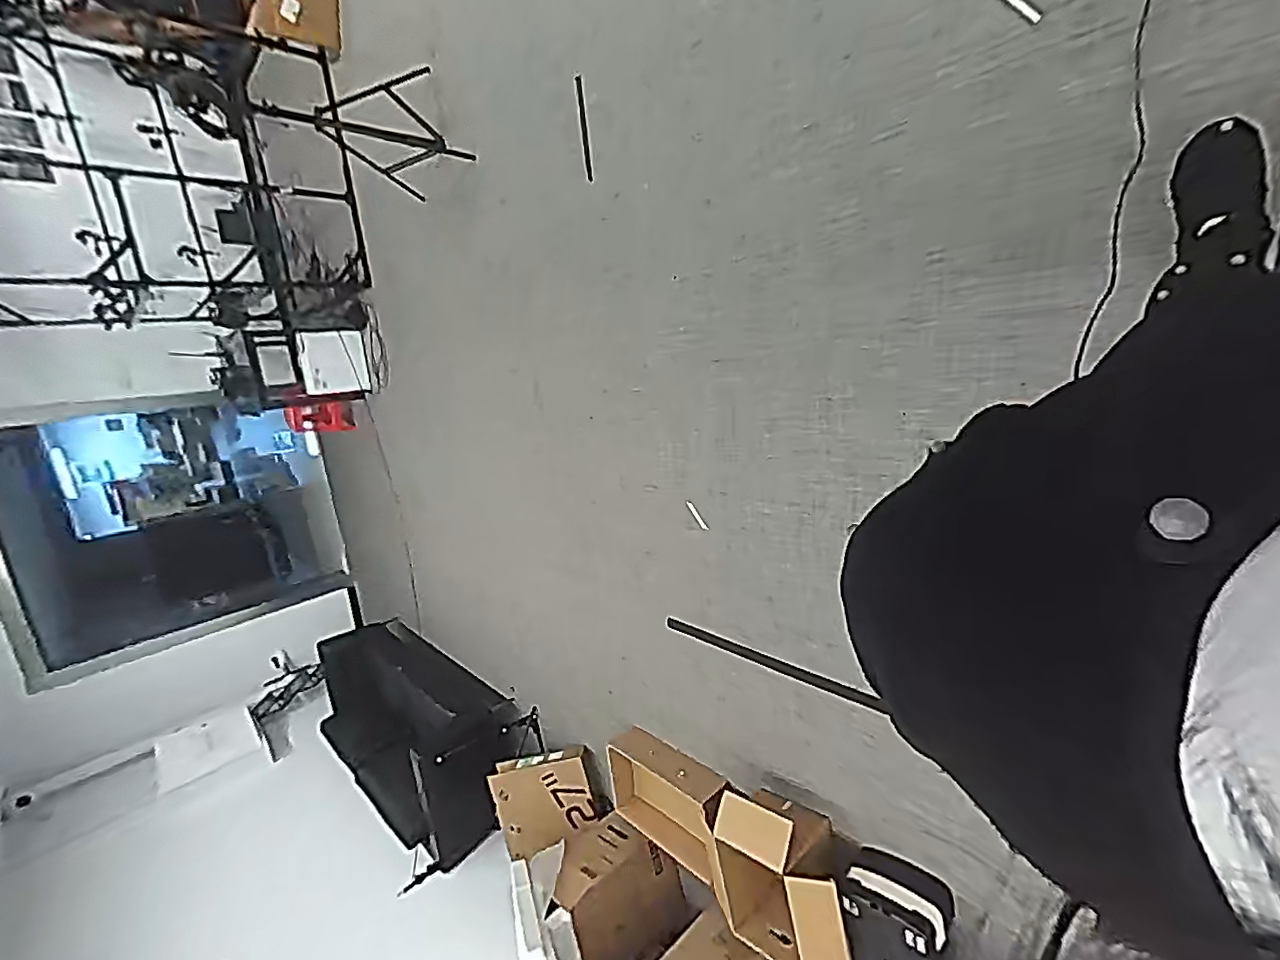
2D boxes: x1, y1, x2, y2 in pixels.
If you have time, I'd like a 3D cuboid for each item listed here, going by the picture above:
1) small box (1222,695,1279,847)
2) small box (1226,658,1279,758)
[{"bbox_3d":[1.103,0.498,0.893,0.168,0.176,0.179,13,112,44],"label":"small box"},{"bbox_3d":[1.225,0.456,0.995,0.179,0.176,0.168,13,113,45],"label":"small box"}]
